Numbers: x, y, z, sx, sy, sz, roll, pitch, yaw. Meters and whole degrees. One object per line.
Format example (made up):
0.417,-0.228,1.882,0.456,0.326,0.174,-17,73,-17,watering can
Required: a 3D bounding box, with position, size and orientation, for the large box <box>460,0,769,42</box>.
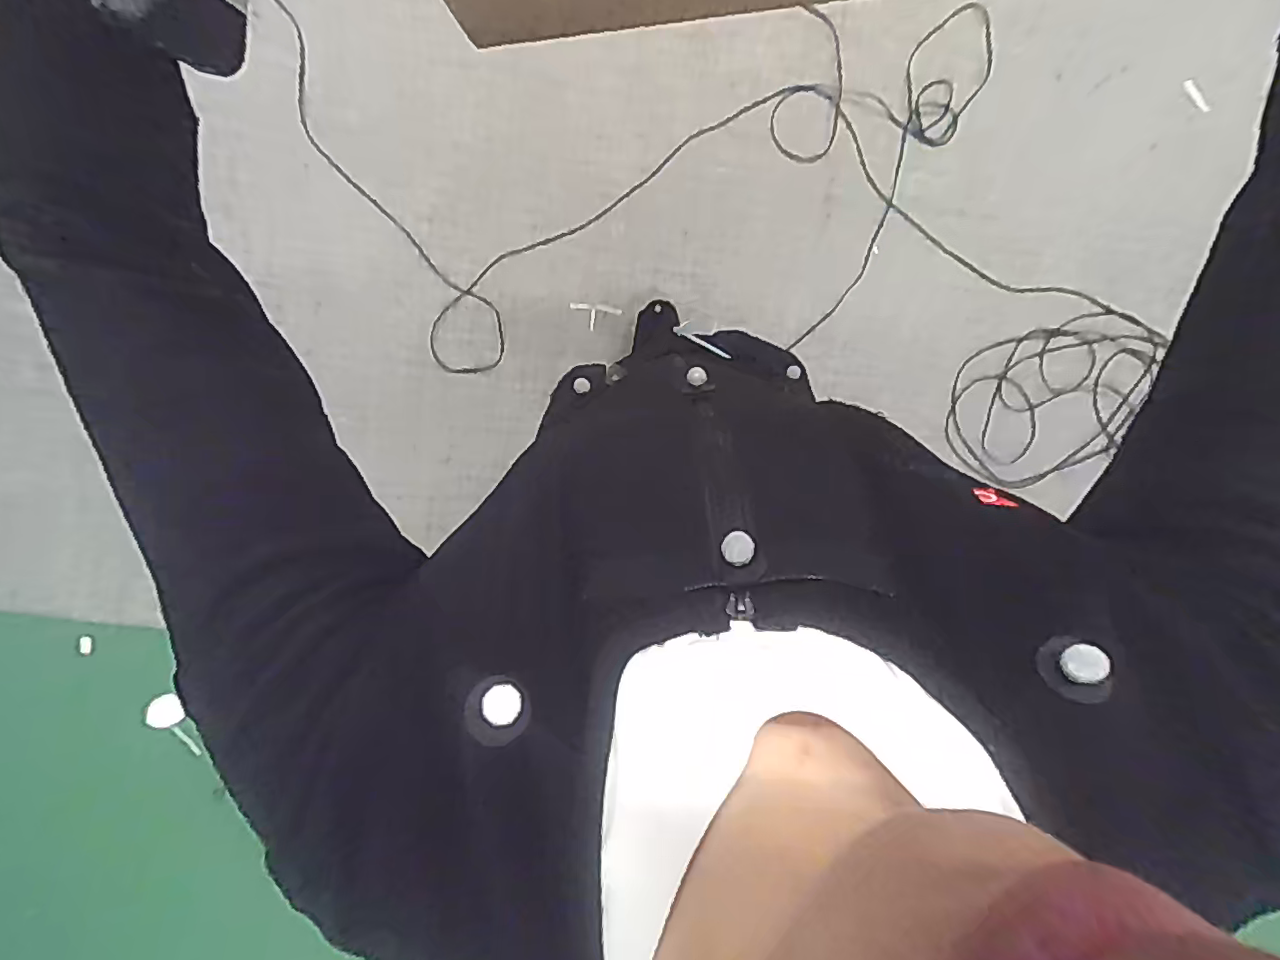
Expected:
0.039,-0.502,0.278,0.408,0.320,0.320,-6,107,2,large box
